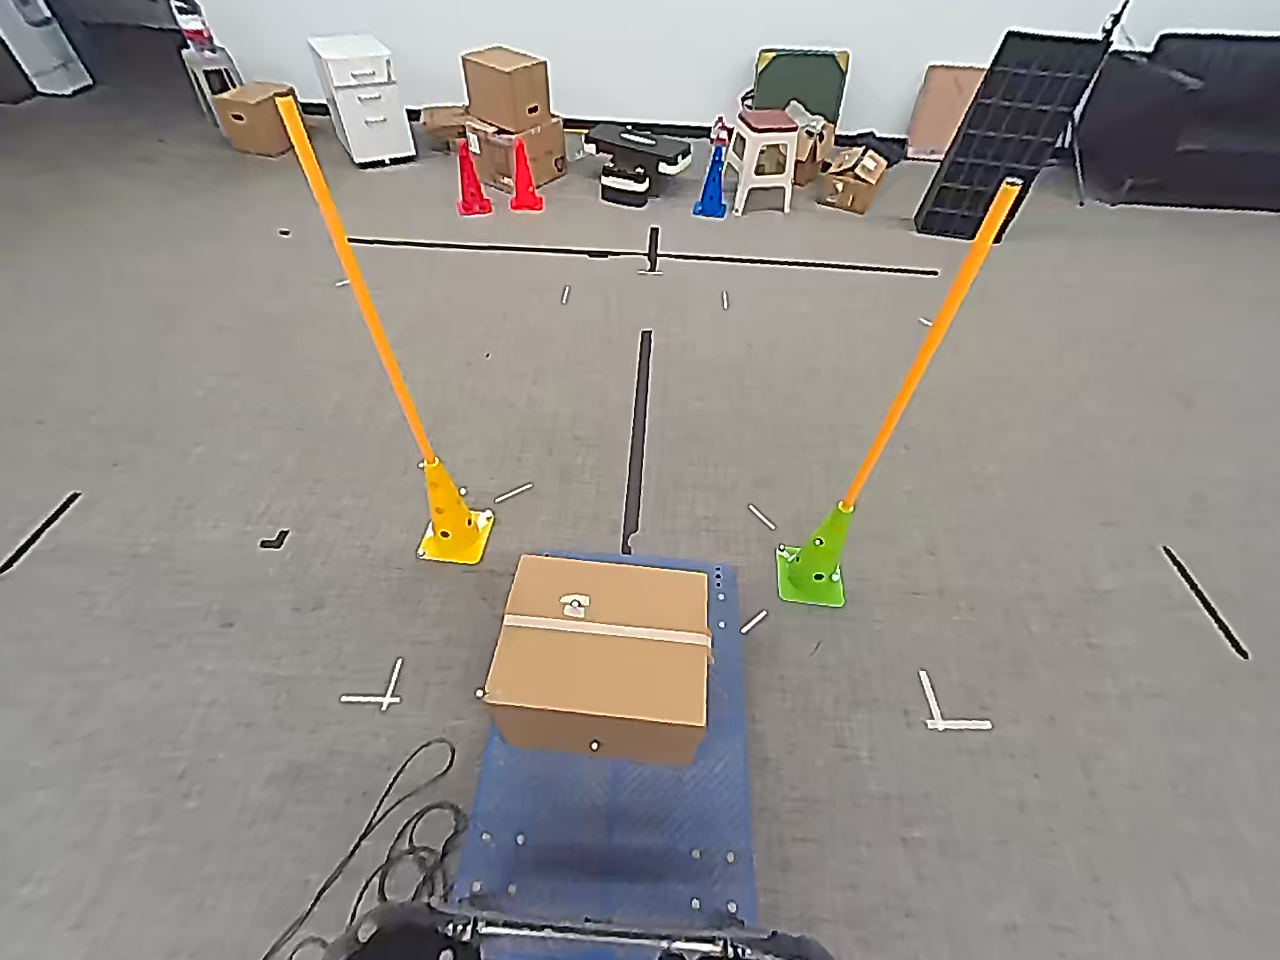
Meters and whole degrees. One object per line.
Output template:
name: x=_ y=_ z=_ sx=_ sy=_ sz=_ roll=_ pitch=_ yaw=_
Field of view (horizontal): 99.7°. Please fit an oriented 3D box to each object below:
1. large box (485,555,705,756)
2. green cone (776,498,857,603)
large box: x=-0.074 y=0.389 z=1.179 sx=0.408 sy=0.320 sz=0.320 roll=6 pitch=50 yaw=2
green cone: x=0.546 y=0.181 z=1.582 sx=0.202 sy=0.368 sz=0.200 roll=8 pitch=50 yaw=1
